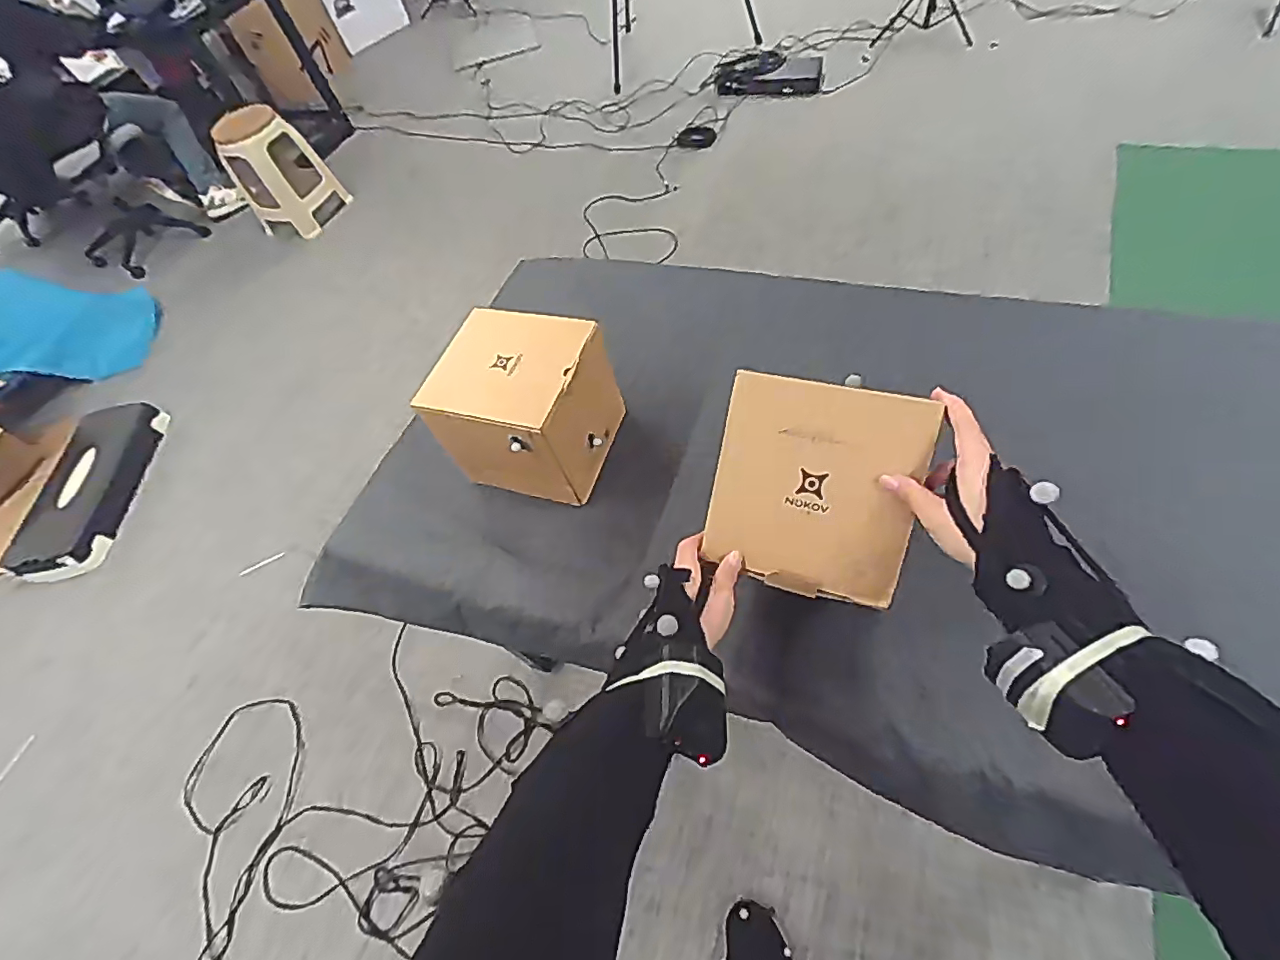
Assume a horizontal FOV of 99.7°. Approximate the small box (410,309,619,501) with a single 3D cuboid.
[{"bbox_3d":[-0.144,-0.092,0.691,0.179,0.176,0.168,12,61,17],"label":"small box"}]
